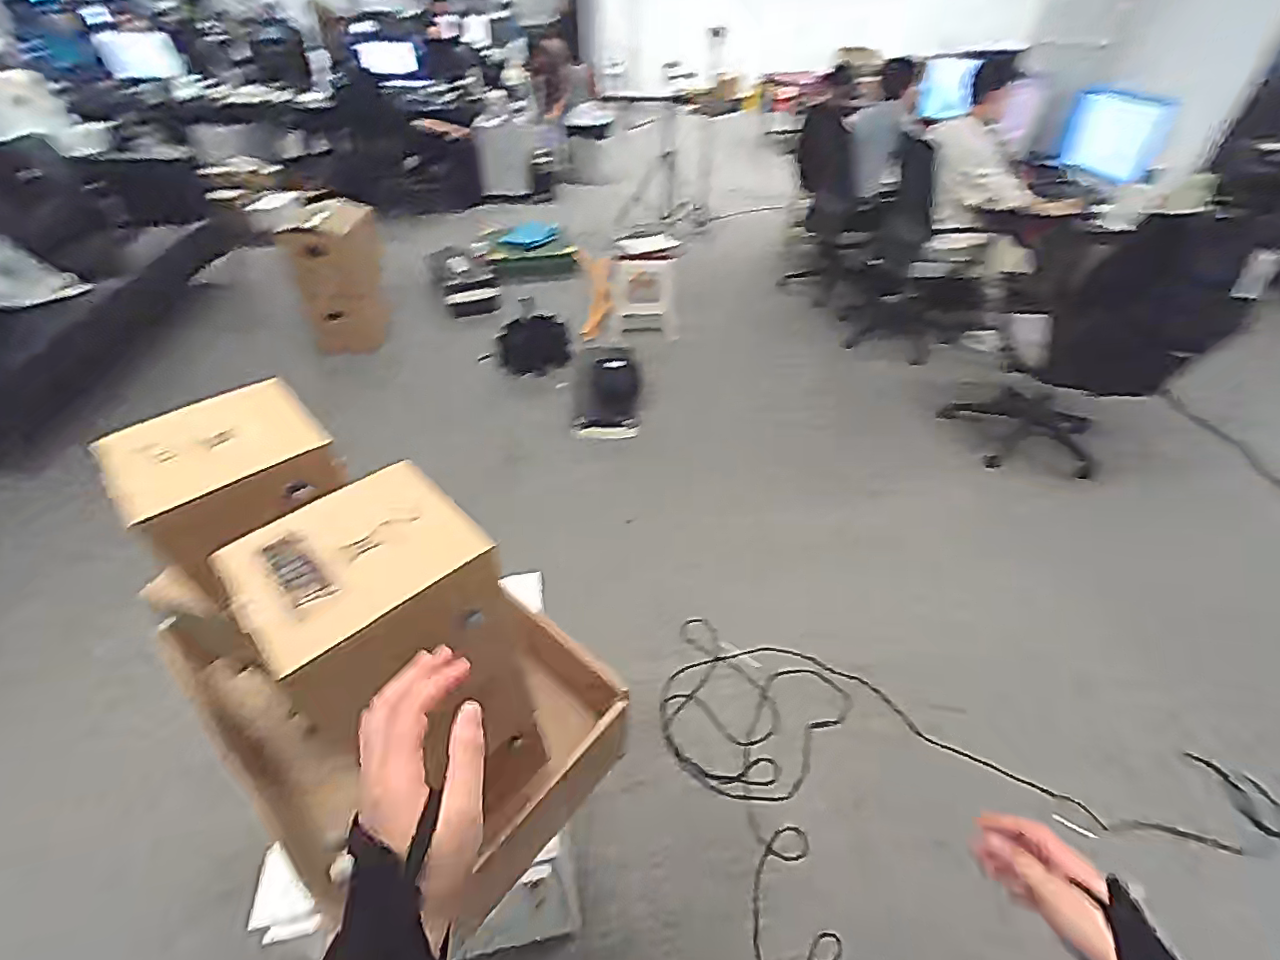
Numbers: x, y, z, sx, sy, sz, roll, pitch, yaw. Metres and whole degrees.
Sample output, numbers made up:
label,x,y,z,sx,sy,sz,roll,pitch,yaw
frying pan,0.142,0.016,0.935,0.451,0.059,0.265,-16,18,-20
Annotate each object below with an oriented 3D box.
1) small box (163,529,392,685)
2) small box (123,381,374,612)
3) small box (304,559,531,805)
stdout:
label,x,y,z,sx,sy,sz,roll,pitch,yaw
small box,-0.469,0.146,0.740,0.168,0.176,0.179,12,46,12
small box,-0.441,0.016,0.637,0.179,0.176,0.168,-33,53,-30
small box,-0.246,0.236,0.641,0.168,0.176,0.179,31,52,32
